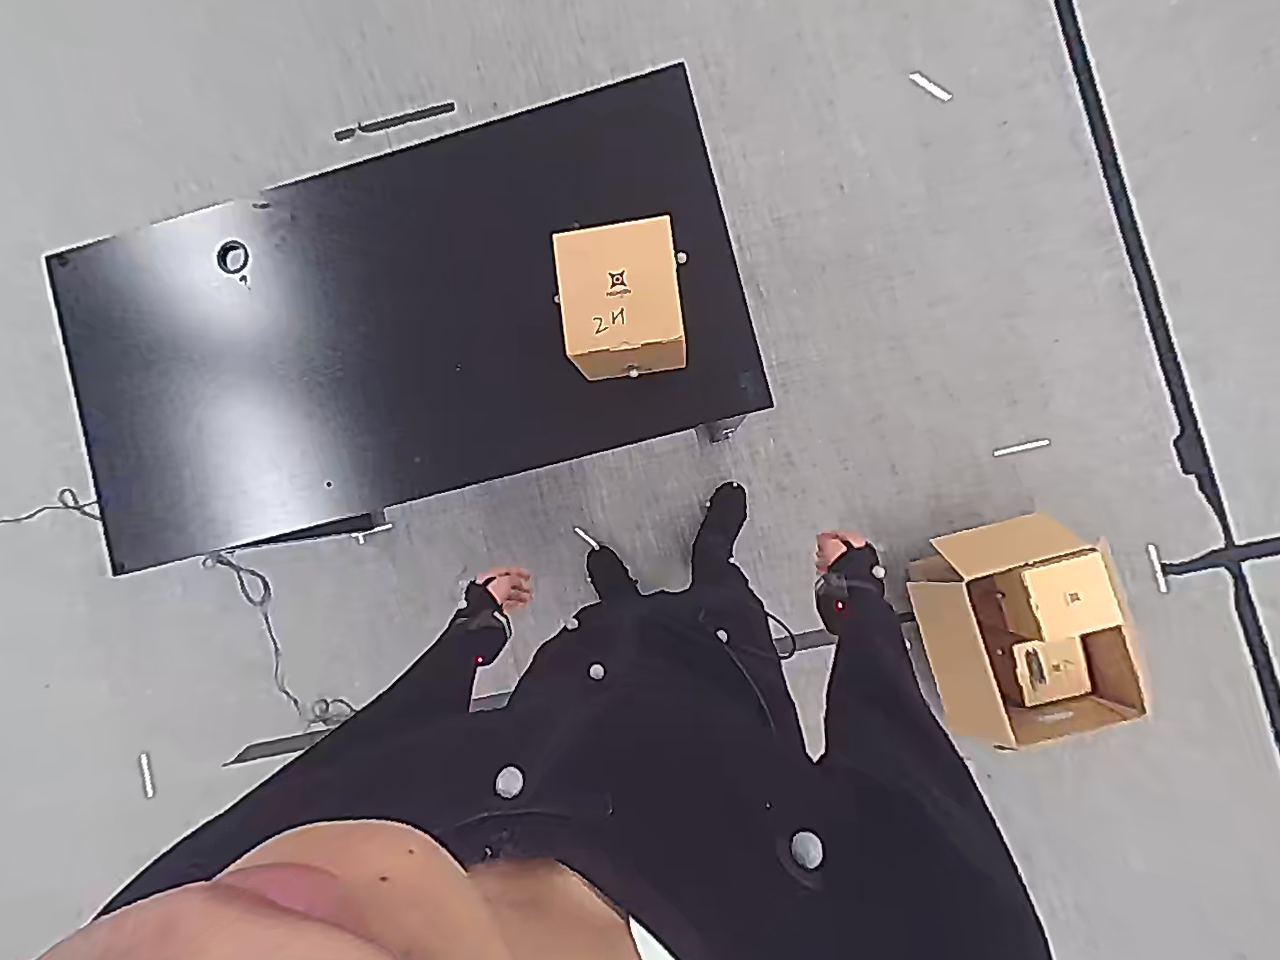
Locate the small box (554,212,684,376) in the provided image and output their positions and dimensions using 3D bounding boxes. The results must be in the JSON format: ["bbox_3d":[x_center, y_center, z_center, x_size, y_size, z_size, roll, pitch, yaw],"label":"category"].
[{"bbox_3d":[-0.024,-0.267,0.813,0.168,0.176,0.179,-6,89,5],"label":"small box"}]
